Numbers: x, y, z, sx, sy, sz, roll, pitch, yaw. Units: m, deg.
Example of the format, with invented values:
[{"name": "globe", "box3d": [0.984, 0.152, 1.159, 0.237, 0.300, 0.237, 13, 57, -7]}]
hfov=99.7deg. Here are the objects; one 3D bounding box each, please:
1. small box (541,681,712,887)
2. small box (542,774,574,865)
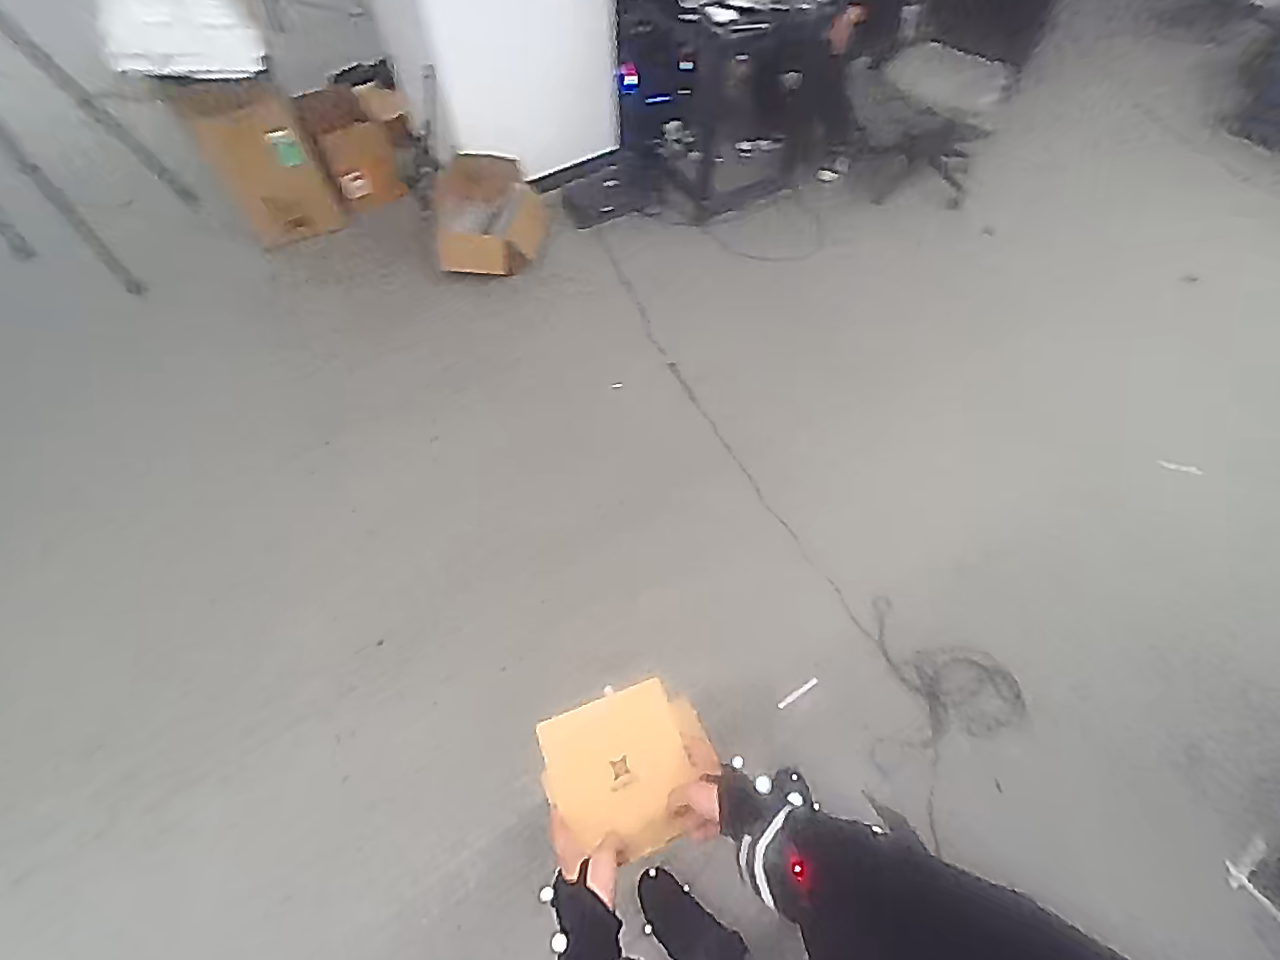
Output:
[{"name": "small box", "box3d": [-0.030, 0.387, 0.712, 0.168, 0.176, 0.179, -16, 68, -15]}, {"name": "small box", "box3d": [-0.086, 0.671, 1.141, 0.179, 0.176, 0.168, -26, 61, -13]}]
